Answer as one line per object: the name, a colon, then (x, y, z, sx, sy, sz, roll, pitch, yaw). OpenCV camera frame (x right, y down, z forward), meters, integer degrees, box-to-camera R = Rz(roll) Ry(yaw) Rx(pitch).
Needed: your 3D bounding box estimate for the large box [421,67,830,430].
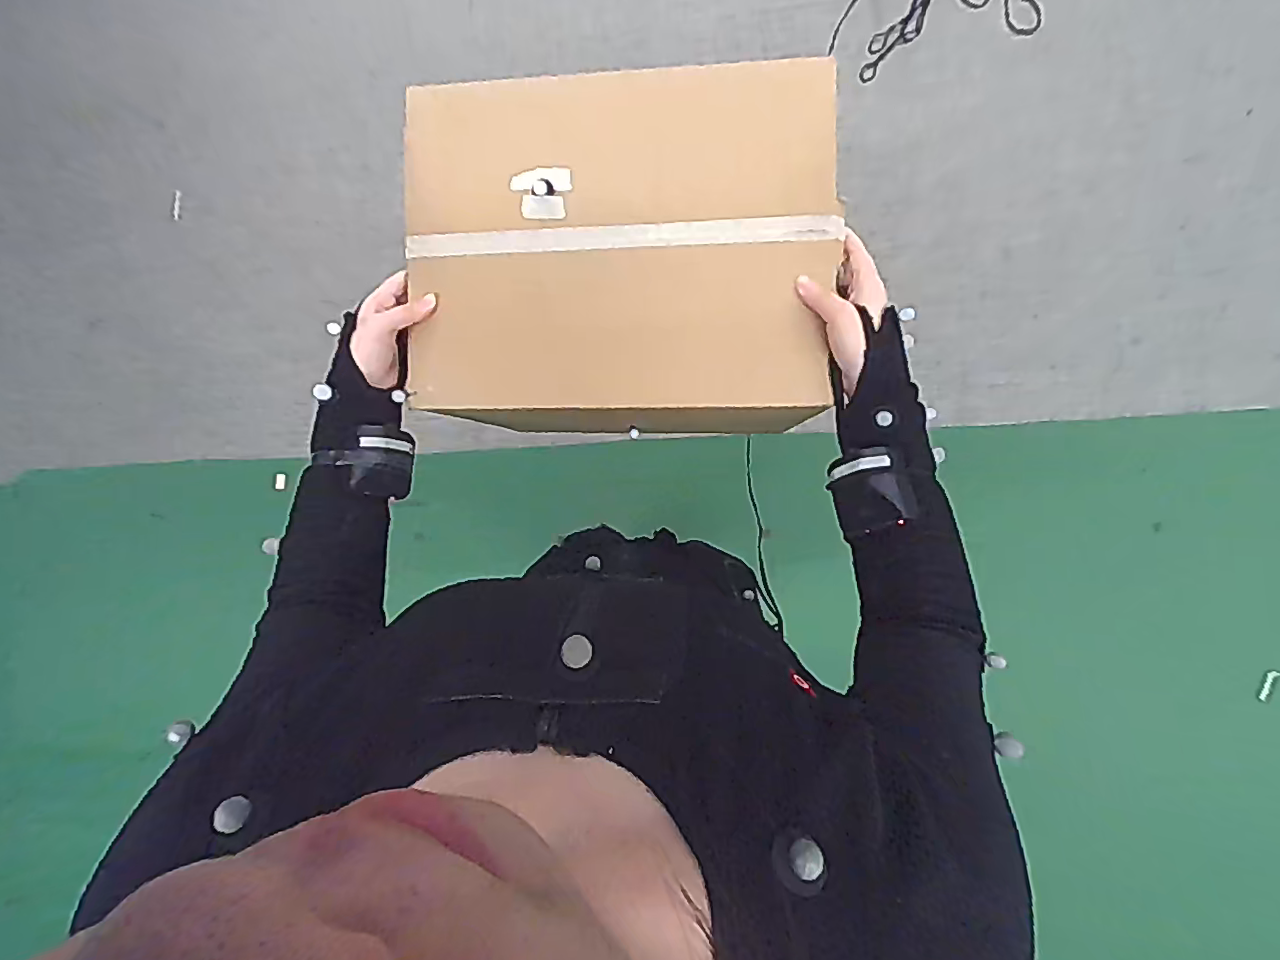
large box: (-0.002, -0.225, 0.667, 0.408, 0.320, 0.320, 0, 90, 8)
